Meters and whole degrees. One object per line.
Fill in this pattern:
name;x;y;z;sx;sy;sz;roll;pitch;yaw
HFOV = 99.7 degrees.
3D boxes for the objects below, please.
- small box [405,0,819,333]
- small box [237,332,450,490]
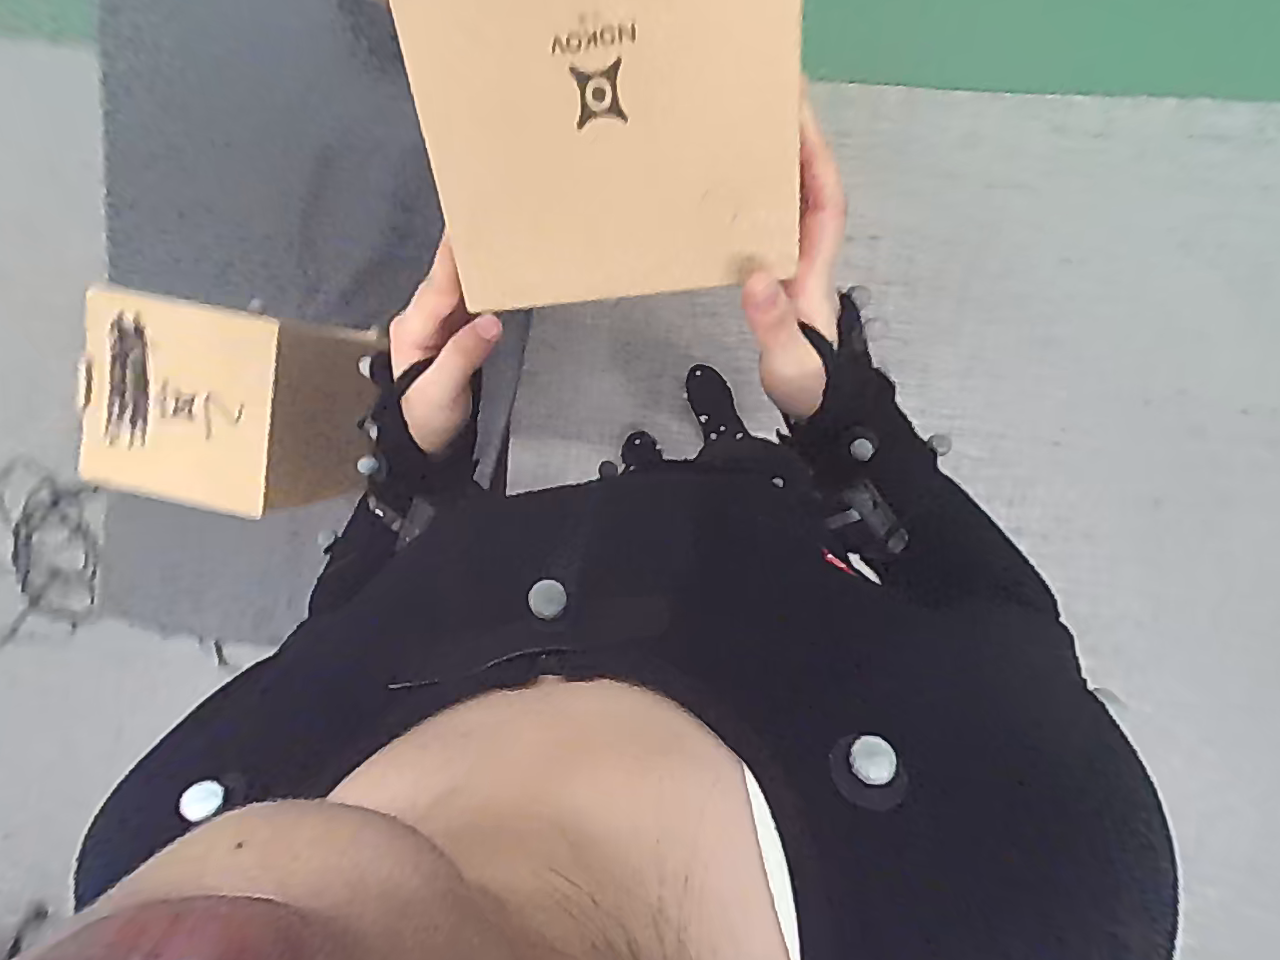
small box;0.002;-0.191;0.297;0.168;0.176;0.179;-2;117;10
small box;-0.367;-0.088;0.689;0.179;0.176;0.168;6;99;6
